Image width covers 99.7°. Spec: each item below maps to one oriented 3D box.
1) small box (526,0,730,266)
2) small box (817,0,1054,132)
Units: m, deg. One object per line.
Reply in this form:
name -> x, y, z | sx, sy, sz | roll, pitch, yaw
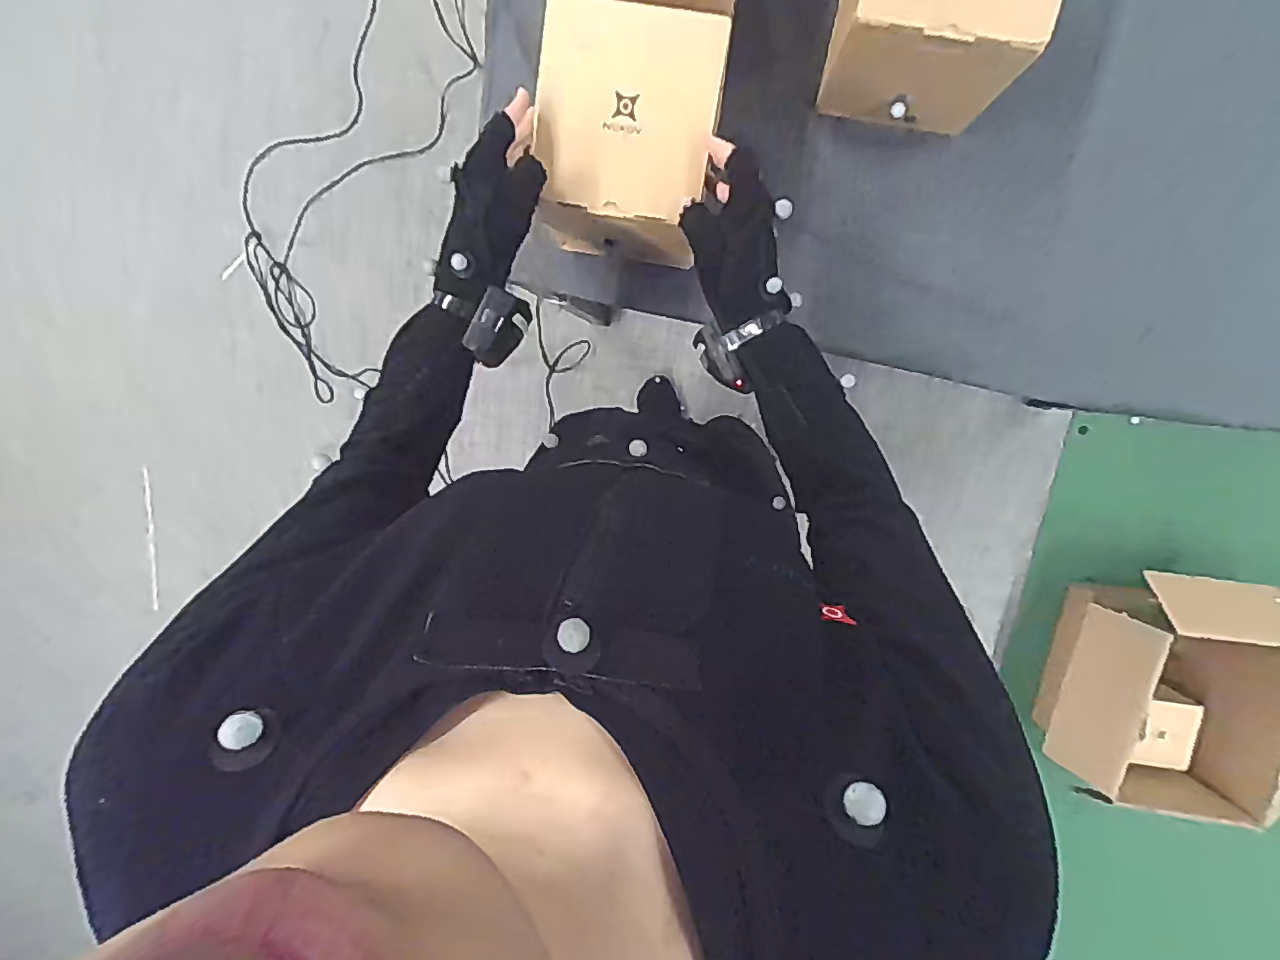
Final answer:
small box -> -0.011, -0.346, 0.570 | 0.168, 0.176, 0.179 | 9, 100, 1
small box -> 0.288, -0.485, 0.532 | 0.168, 0.176, 0.179 | 12, 102, 3
